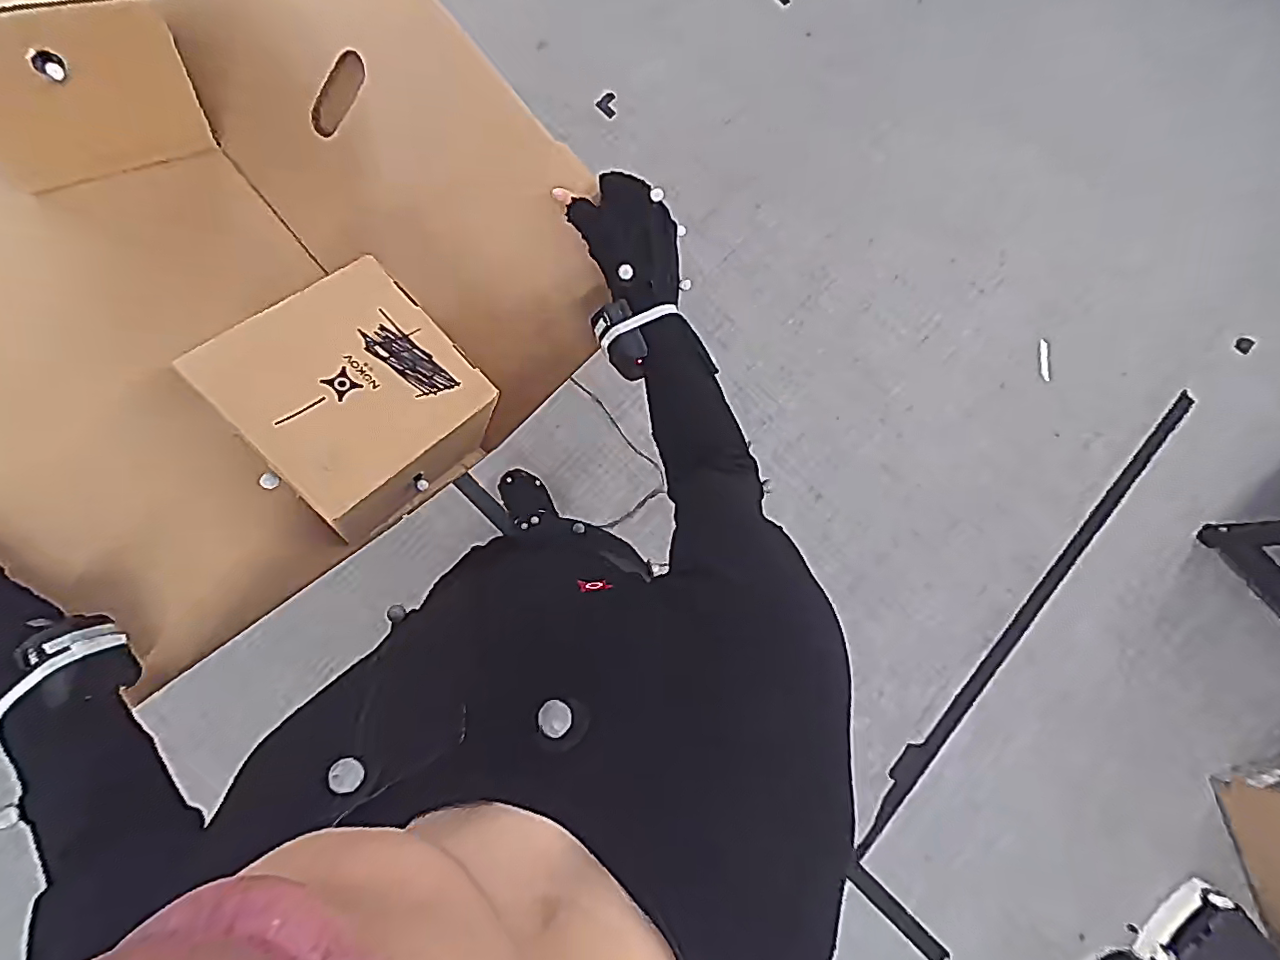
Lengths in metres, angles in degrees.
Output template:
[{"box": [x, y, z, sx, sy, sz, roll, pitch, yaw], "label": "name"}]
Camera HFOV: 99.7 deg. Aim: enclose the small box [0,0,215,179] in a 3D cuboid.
[{"box": [-0.548, -0.415, 0.496, 0.179, 0.176, 0.168, -36, 91, -27], "label": "small box"}]
